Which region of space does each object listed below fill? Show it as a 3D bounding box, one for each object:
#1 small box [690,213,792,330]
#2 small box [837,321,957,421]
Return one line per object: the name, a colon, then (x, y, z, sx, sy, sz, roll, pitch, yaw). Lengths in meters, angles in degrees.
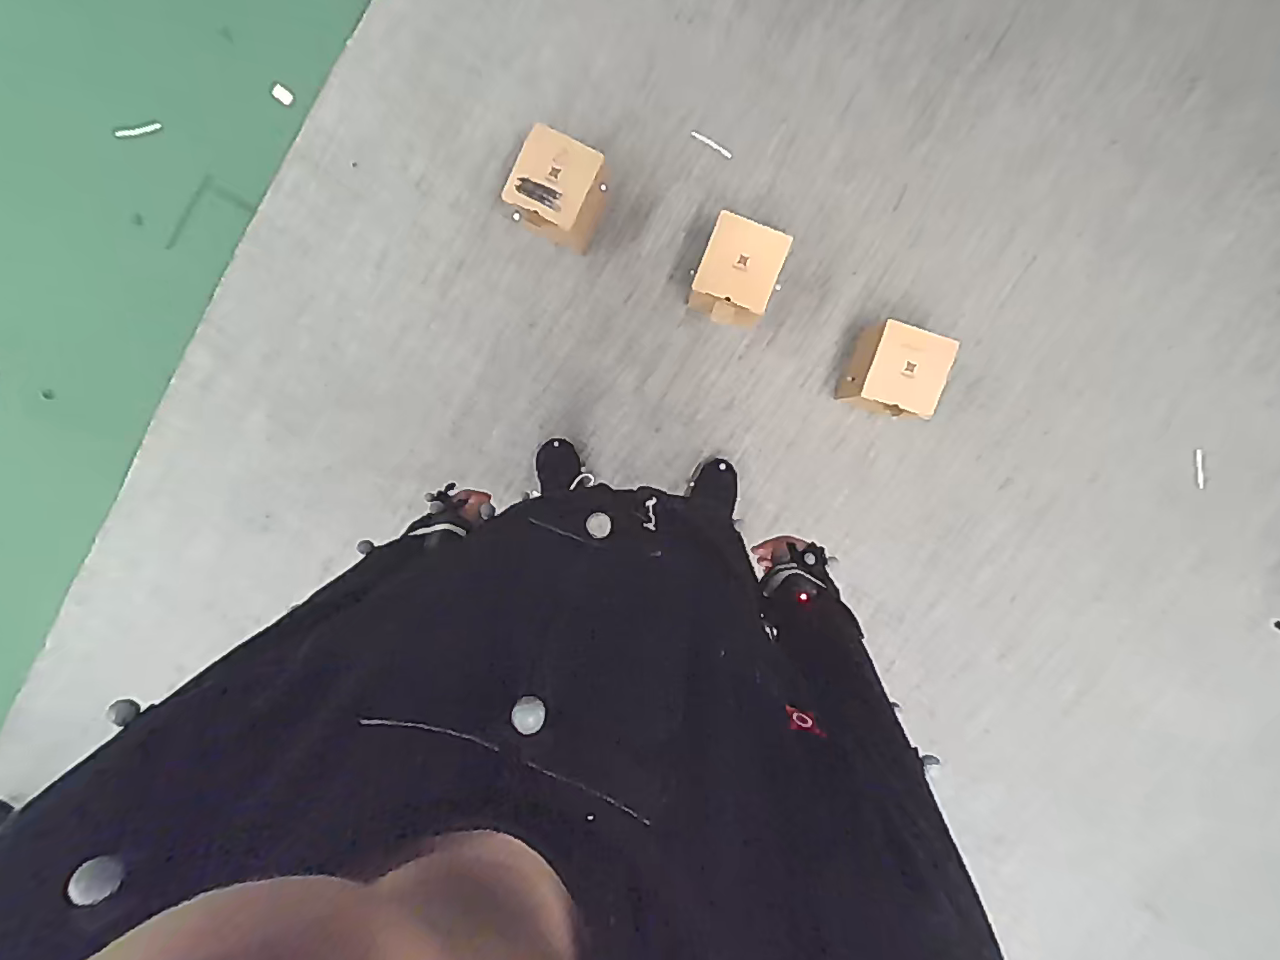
small box: (0.217, -0.462, 1.224, 0.168, 0.176, 0.179, 21, 96, 0)
small box: (0.573, -0.240, 1.235, 0.168, 0.176, 0.179, 18, 94, -1)
